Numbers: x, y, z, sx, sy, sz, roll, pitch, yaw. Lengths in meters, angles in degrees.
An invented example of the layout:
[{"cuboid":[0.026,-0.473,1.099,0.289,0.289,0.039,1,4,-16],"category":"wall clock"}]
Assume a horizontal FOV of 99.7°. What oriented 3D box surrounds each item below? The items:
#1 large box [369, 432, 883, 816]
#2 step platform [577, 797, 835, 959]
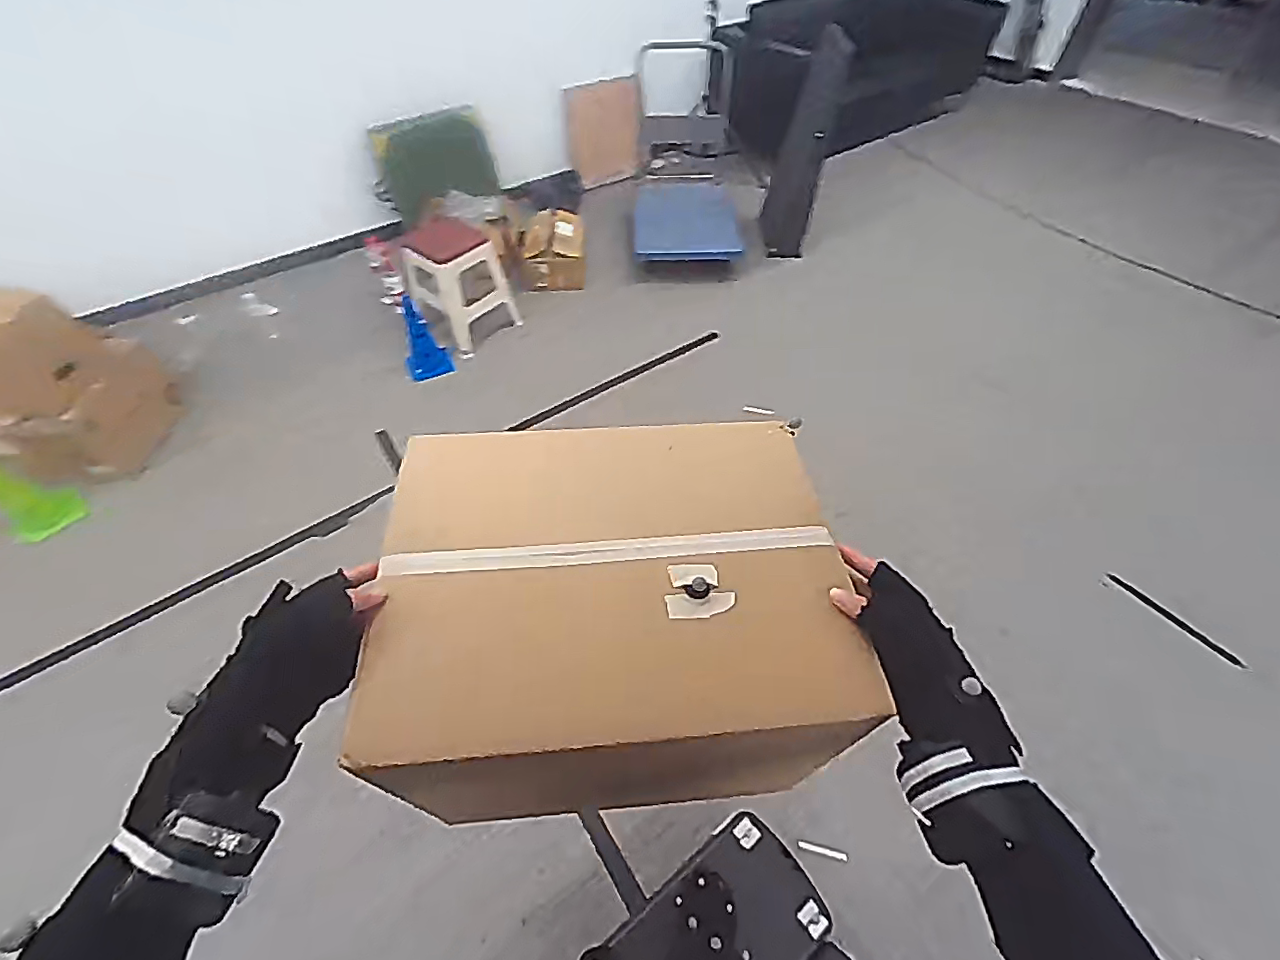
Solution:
[{"cuboid":[-0.025,0.165,0.616,0.408,0.320,0.320,-2,52,-5],"category":"large box"},{"cuboid":[0.102,1.037,1.178,0.684,0.204,0.286,-31,57,-23],"category":"step platform"}]
